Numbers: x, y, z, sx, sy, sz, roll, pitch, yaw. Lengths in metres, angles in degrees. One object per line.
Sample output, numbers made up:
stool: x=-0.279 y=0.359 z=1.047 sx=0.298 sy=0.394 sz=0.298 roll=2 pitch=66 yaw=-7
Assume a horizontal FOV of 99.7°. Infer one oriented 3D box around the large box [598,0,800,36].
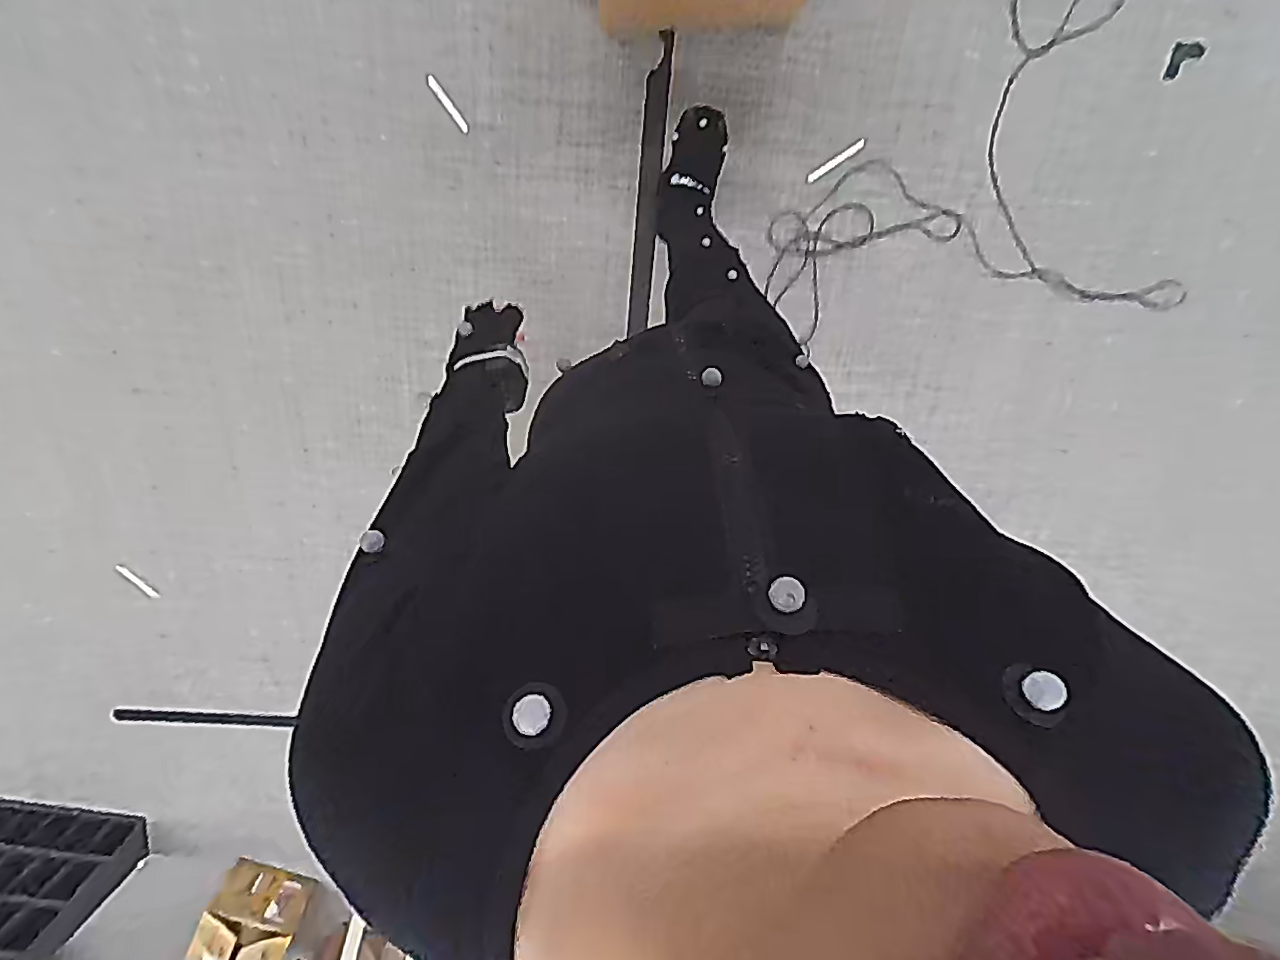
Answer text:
large box: x=0.108 y=-1.032 z=0.939 sx=0.408 sy=0.320 sz=0.320 roll=-4 pitch=112 yaw=-1
